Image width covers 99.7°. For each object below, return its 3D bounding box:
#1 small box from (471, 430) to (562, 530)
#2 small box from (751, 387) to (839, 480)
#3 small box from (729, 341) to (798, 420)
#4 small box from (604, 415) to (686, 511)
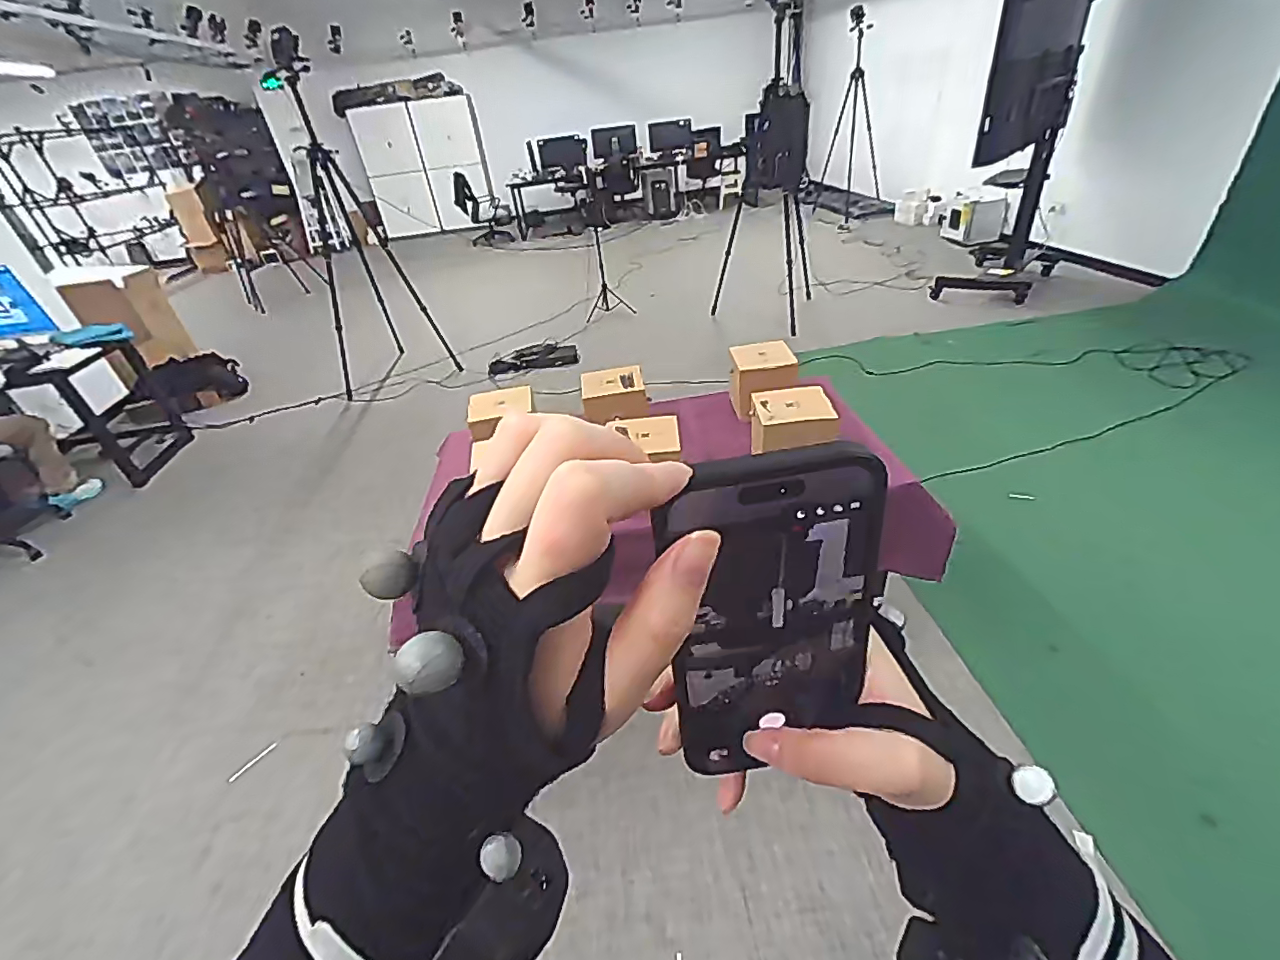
[{"bbox_3d":[-0.296,0.001,1.312,0.179,0.176,0.168,-11,35,-7],"label":"small box"},{"bbox_3d":[0.376,-0.114,1.345,0.179,0.176,0.168,-4,35,4],"label":"small box"},{"bbox_3d":[0.359,-0.295,1.601,0.168,0.176,0.179,-7,36,2],"label":"small box"},{"bbox_3d":[0.015,-0.039,1.308,0.179,0.176,0.168,-5,35,3],"label":"small box"}]
